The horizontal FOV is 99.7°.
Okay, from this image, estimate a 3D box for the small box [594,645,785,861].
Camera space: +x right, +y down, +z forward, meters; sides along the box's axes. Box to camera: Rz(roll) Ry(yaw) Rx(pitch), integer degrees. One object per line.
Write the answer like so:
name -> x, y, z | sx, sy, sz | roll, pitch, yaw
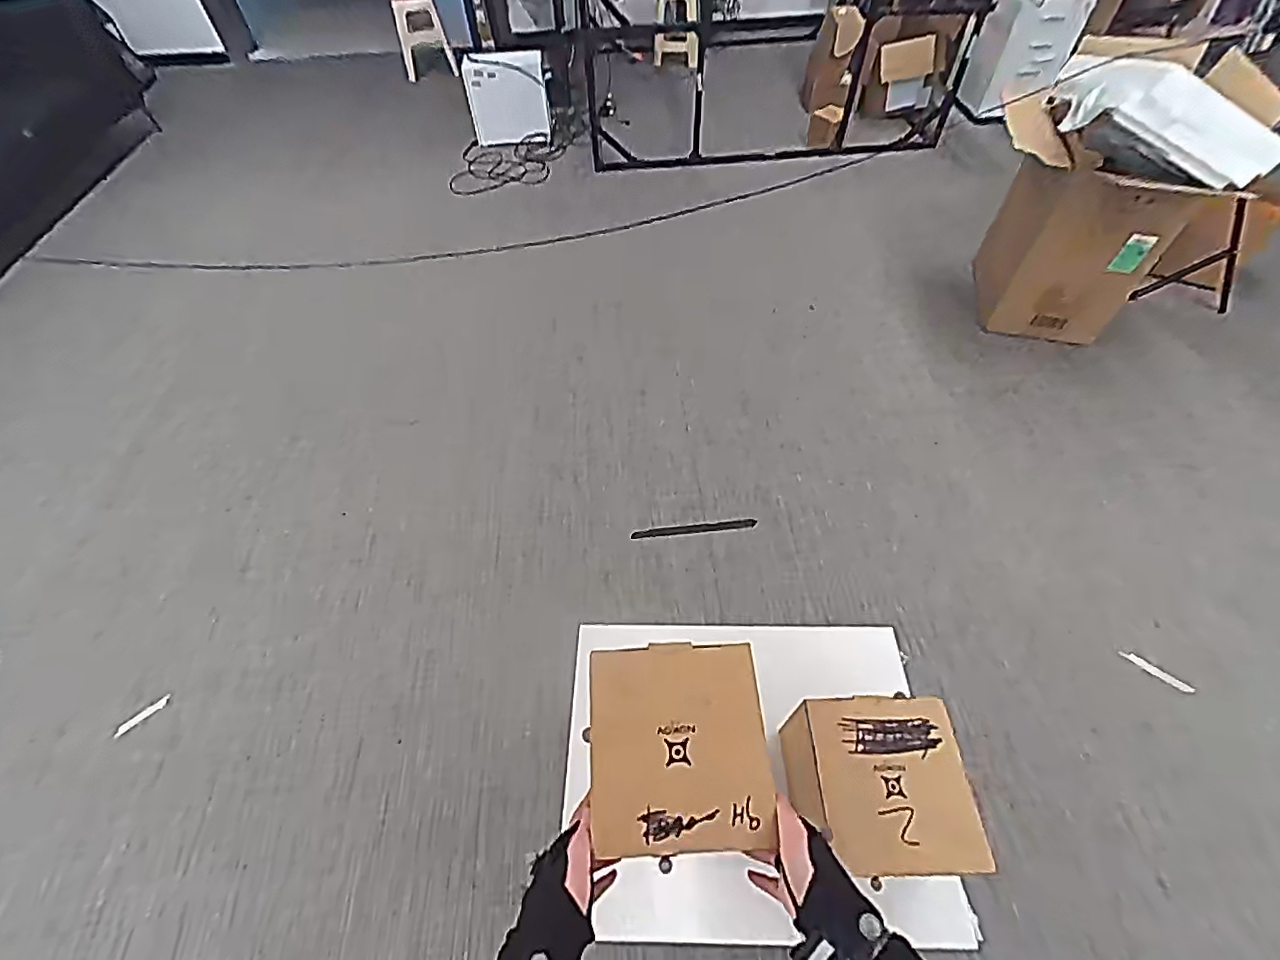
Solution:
small box -> 0.038, 0.284, 0.567 | 0.168, 0.176, 0.179 | -3, 60, -1
